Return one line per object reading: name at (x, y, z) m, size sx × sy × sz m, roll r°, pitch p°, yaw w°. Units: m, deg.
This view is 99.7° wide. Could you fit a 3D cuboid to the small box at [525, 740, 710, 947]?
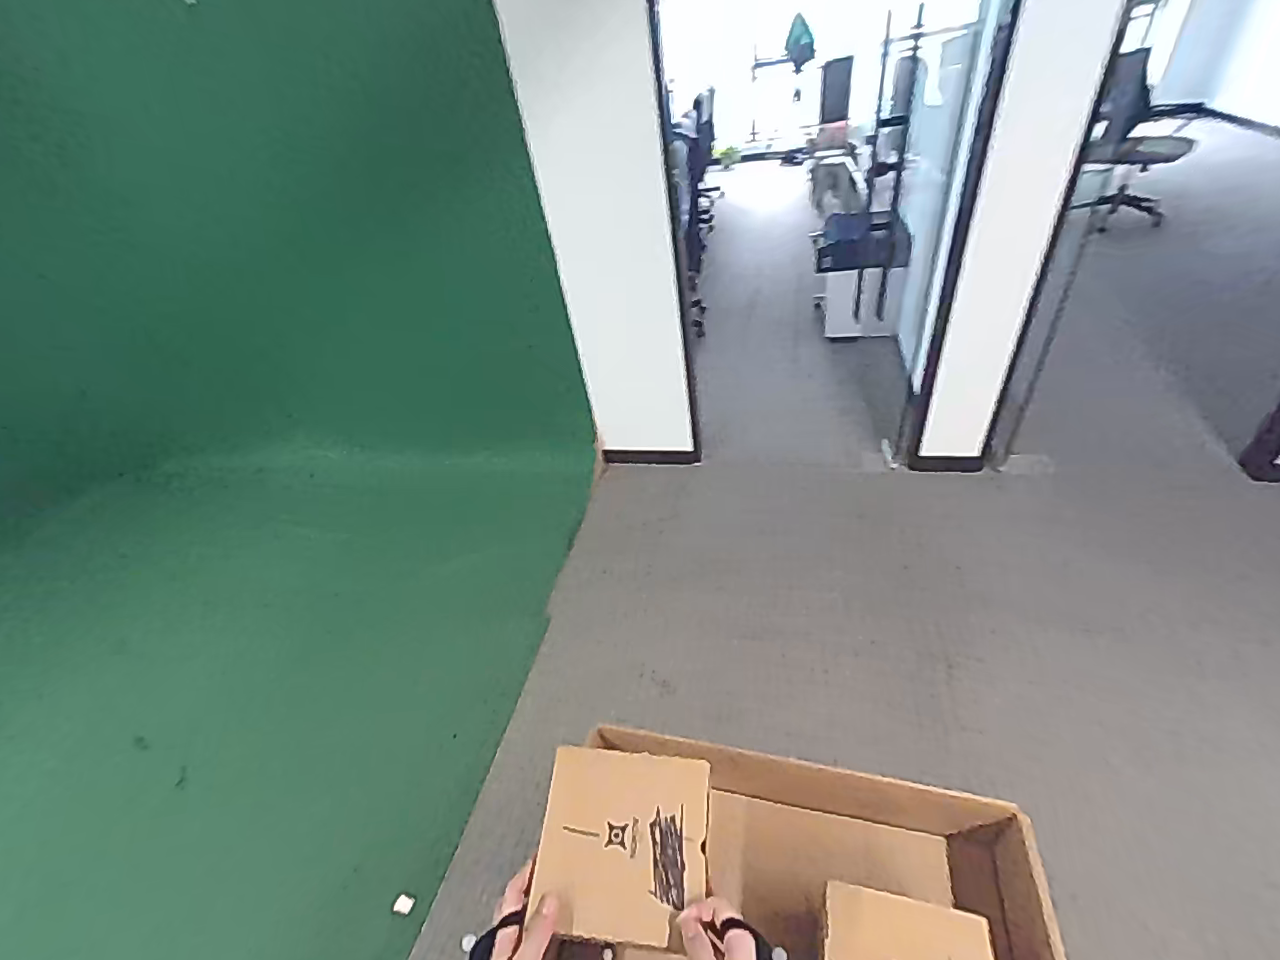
small box at (-0.015, 0.416, 0.619) m, size 0.179 × 0.176 × 0.168 m, roll 3°, pitch 49°, yaw 5°
